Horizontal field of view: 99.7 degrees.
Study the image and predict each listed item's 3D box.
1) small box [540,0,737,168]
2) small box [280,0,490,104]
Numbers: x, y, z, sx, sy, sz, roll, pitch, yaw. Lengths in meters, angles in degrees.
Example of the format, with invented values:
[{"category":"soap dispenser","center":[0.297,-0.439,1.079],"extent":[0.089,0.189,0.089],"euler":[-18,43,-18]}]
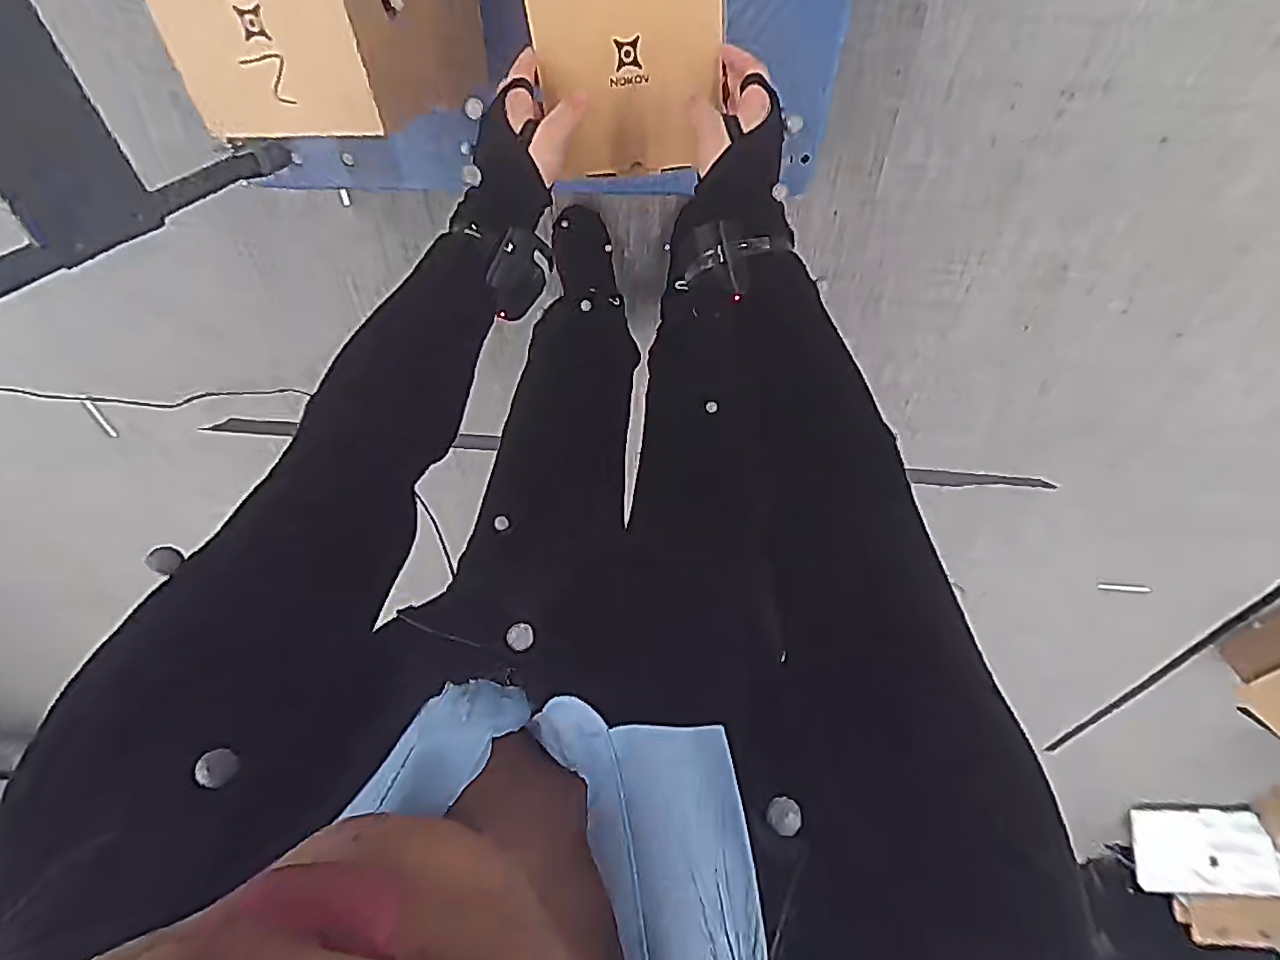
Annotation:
[{"category":"small box","center":[0.009,-0.426,0.527],"extent":[0.168,0.176,0.179],"euler":[0,131,9]},{"category":"small box","center":[-0.274,-0.538,0.593],"extent":[0.168,0.176,0.179],"euler":[6,134,1]}]
